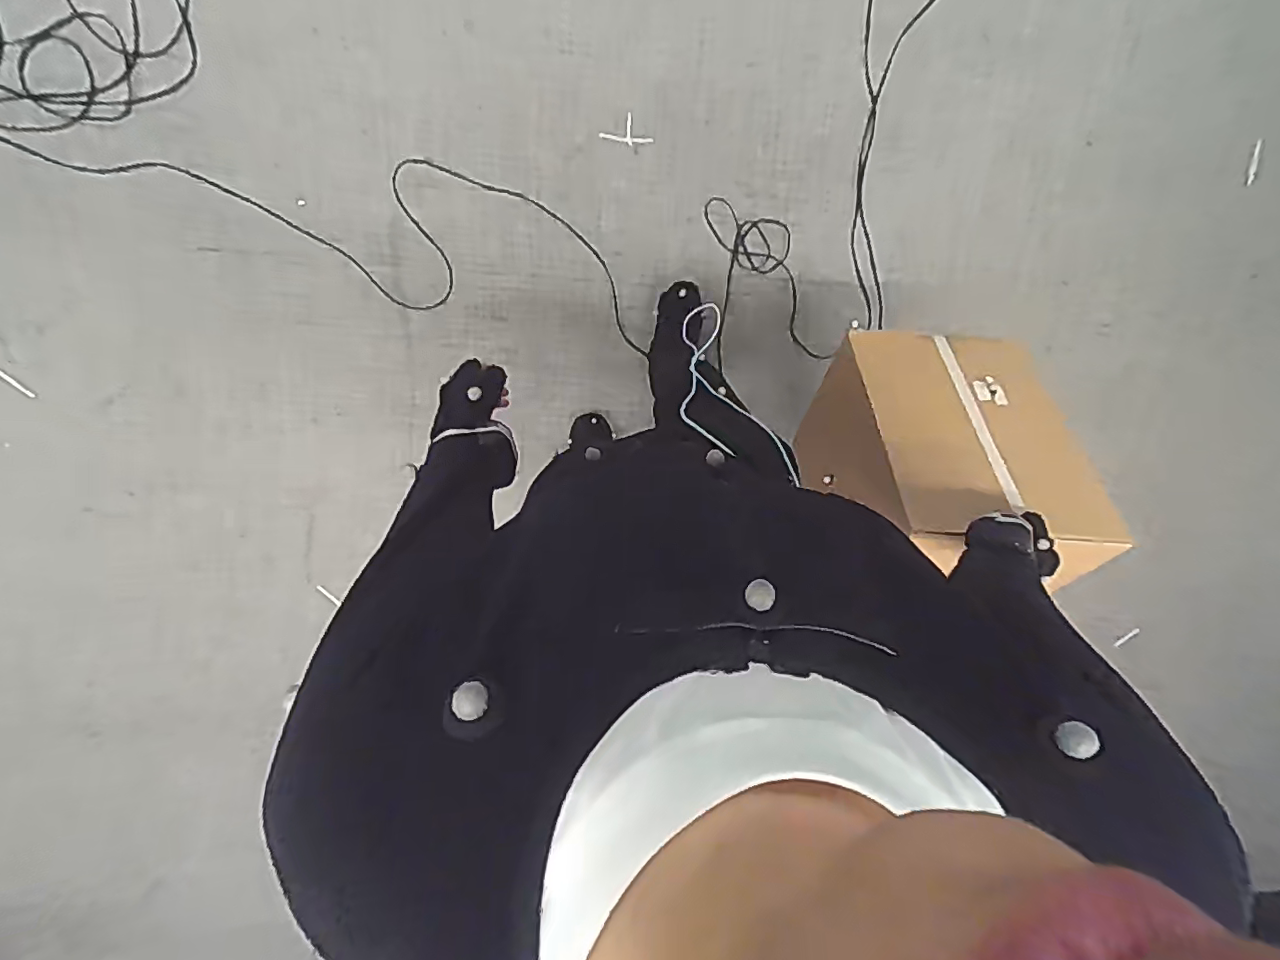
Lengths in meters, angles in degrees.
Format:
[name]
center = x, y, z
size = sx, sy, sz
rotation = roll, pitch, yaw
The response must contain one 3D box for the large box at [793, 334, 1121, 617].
[large box]
center = 0.494, -0.002, 0.959
size = 0.320, 0.408, 0.320
rotation = 4, 143, -4
